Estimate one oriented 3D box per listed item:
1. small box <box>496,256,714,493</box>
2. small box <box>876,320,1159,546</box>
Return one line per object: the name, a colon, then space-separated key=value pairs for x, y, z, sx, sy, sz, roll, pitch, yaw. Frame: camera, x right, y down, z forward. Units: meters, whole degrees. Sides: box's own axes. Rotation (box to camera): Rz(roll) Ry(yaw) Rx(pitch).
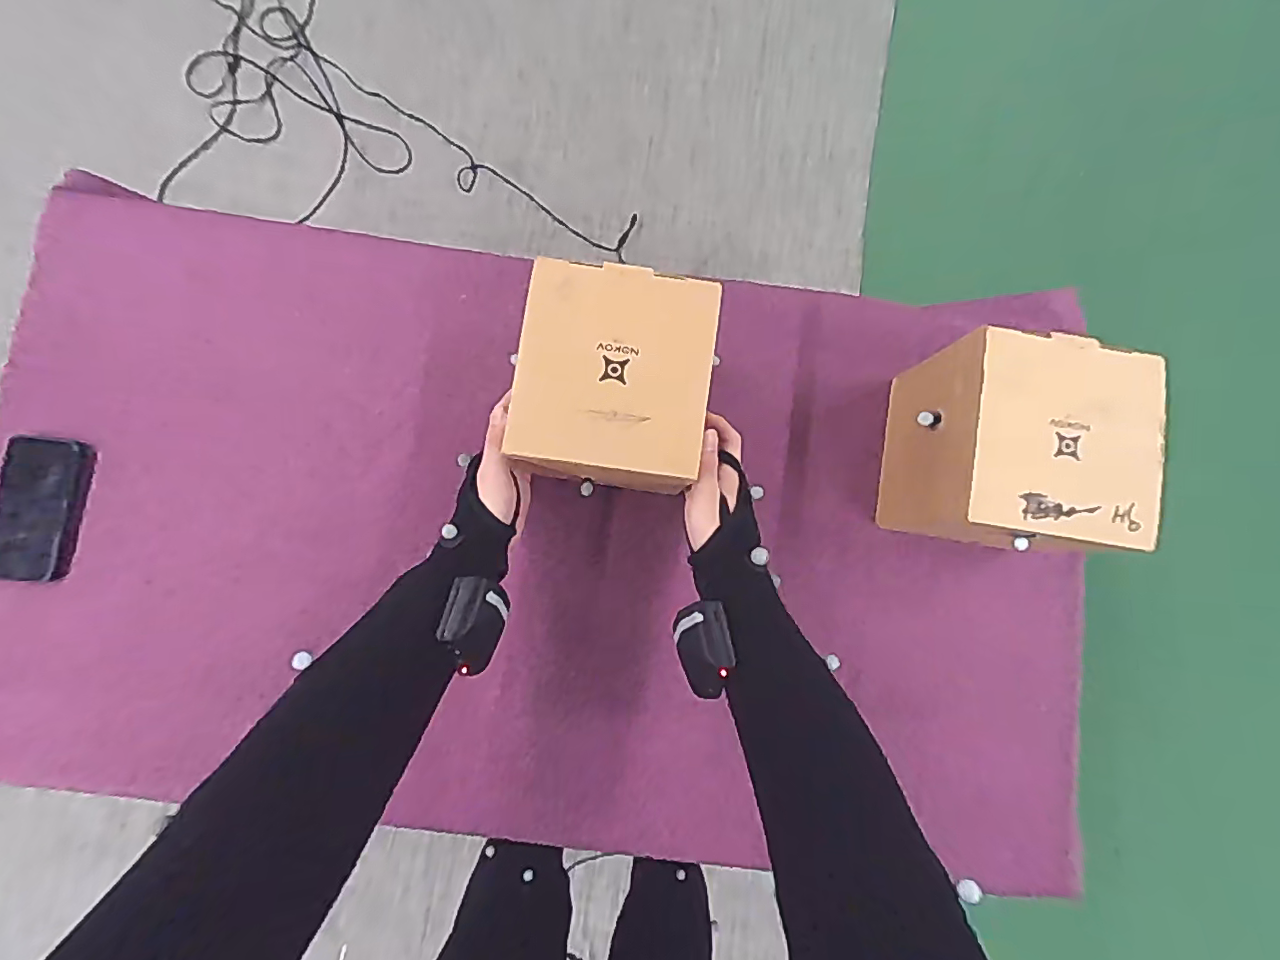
small box: x=-0.030 y=-0.088 z=0.535 sx=0.168 sy=0.176 sz=0.179 roll=8 pitch=84 yaw=0
small box: x=0.356 y=-0.033 z=0.539 sx=0.168 sy=0.176 sz=0.179 roll=9 pitch=83 yaw=0
